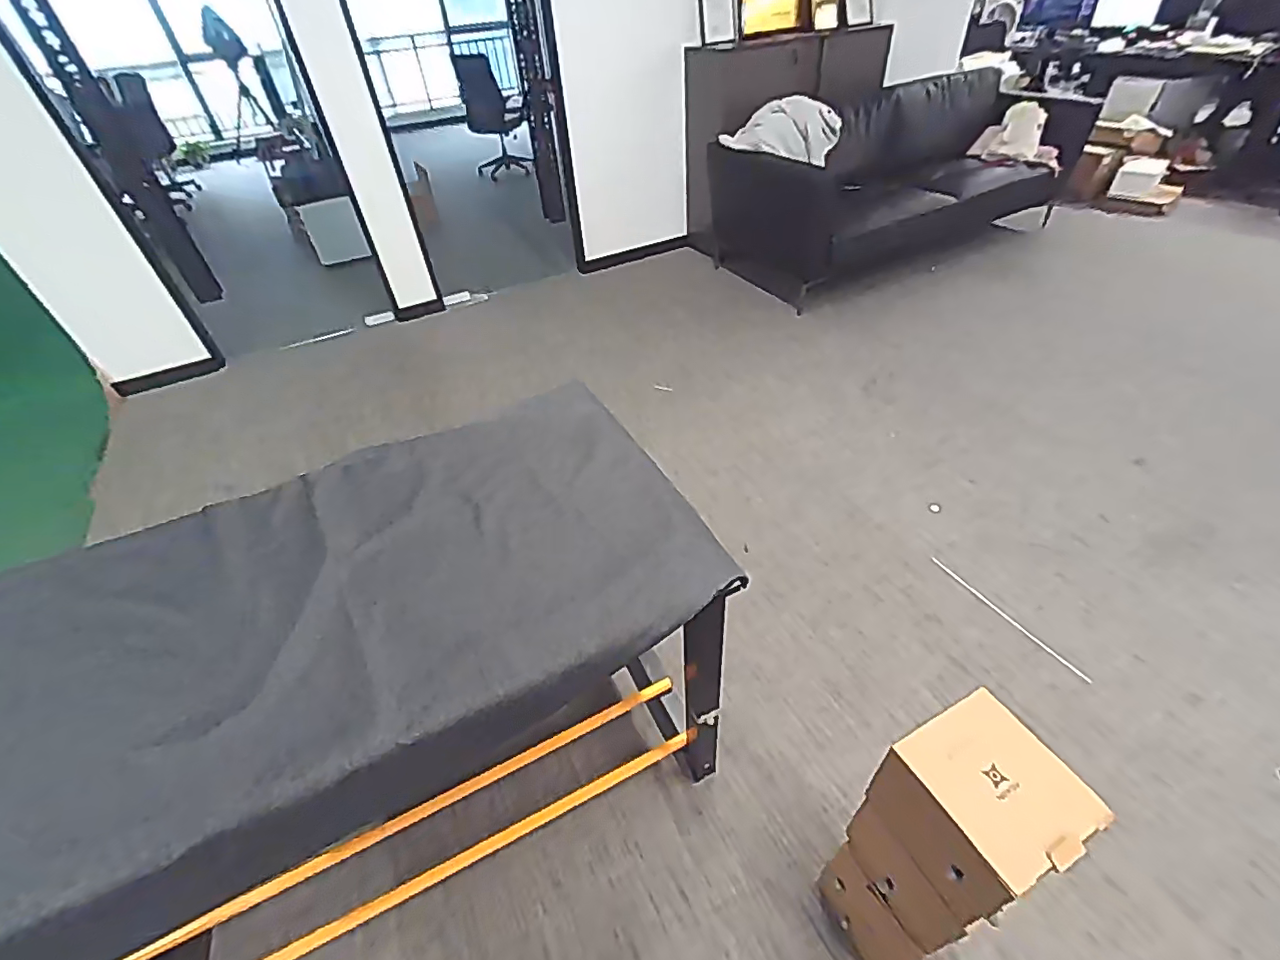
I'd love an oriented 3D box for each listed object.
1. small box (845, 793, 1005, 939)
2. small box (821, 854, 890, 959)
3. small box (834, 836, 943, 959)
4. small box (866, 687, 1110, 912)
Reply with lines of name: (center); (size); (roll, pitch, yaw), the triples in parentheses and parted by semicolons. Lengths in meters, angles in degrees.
small box: (0.437, 0.536, 0.799); (0.168, 0.176, 0.179); (-20, 45, -18)
small box: (0.467, 0.778, 1.018); (0.179, 0.176, 0.168); (-20, 43, -17)
small box: (0.448, 0.663, 0.903); (0.179, 0.176, 0.168); (-22, 45, -19)
small box: (0.426, 0.412, 0.695); (0.168, 0.176, 0.179); (-21, 44, -18)
